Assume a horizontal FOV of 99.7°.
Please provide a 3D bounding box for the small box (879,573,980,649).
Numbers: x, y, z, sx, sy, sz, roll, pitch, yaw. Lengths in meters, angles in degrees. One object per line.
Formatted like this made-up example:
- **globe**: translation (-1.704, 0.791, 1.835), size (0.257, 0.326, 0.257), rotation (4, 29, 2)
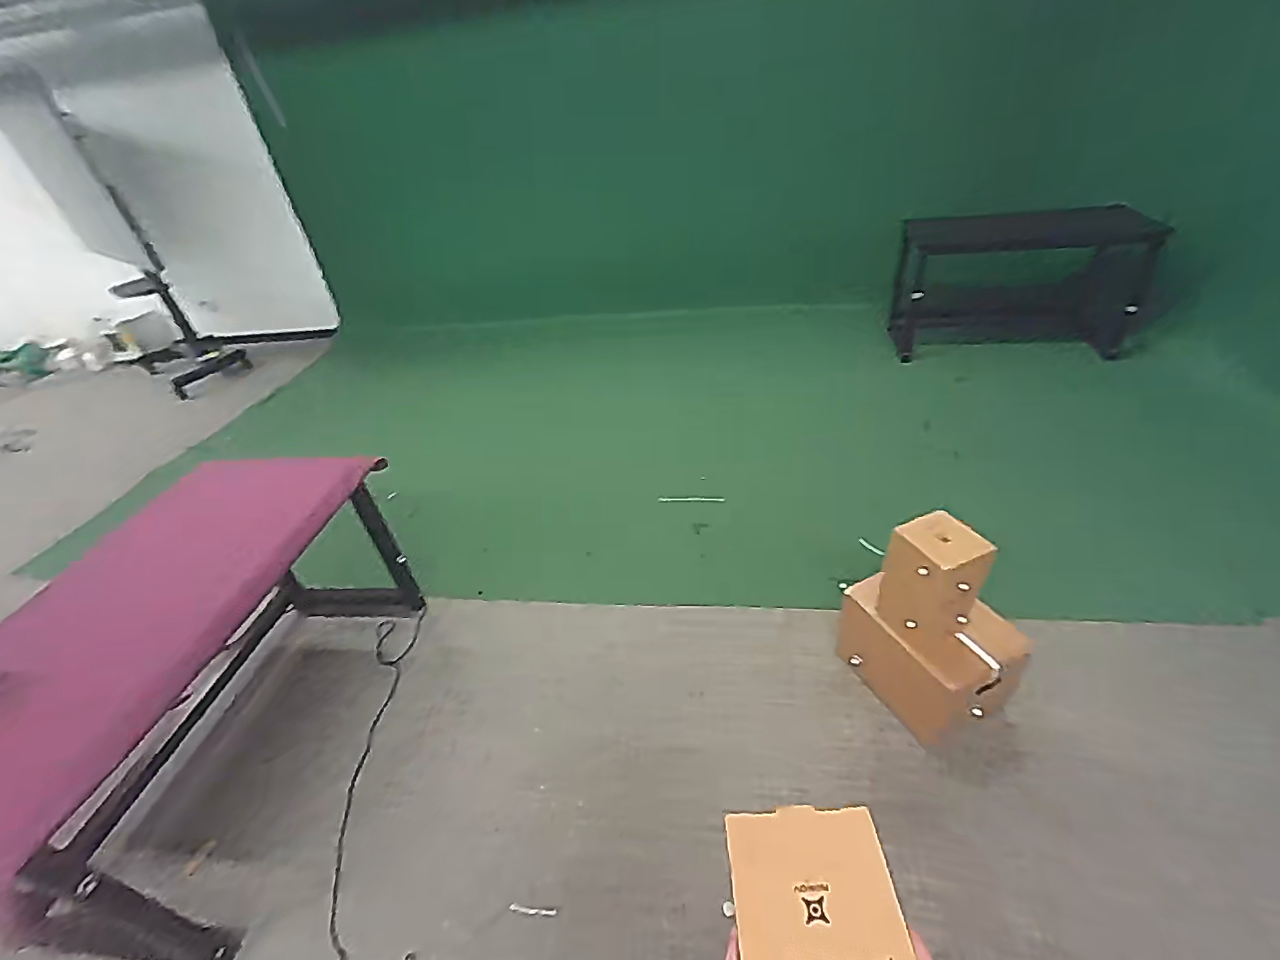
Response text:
- **small box**: translation (0.800, 0.347, 1.513), size (0.168, 0.176, 0.179), rotation (-19, 38, -15)

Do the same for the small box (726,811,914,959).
- **small box**: translation (0.186, 0.497, 0.592), size (0.168, 0.176, 0.179), rotation (-7, 35, 5)

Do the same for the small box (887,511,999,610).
- **small box**: translation (0.782, 0.216, 1.414), size (0.168, 0.176, 0.179), rotation (-17, 38, -14)
